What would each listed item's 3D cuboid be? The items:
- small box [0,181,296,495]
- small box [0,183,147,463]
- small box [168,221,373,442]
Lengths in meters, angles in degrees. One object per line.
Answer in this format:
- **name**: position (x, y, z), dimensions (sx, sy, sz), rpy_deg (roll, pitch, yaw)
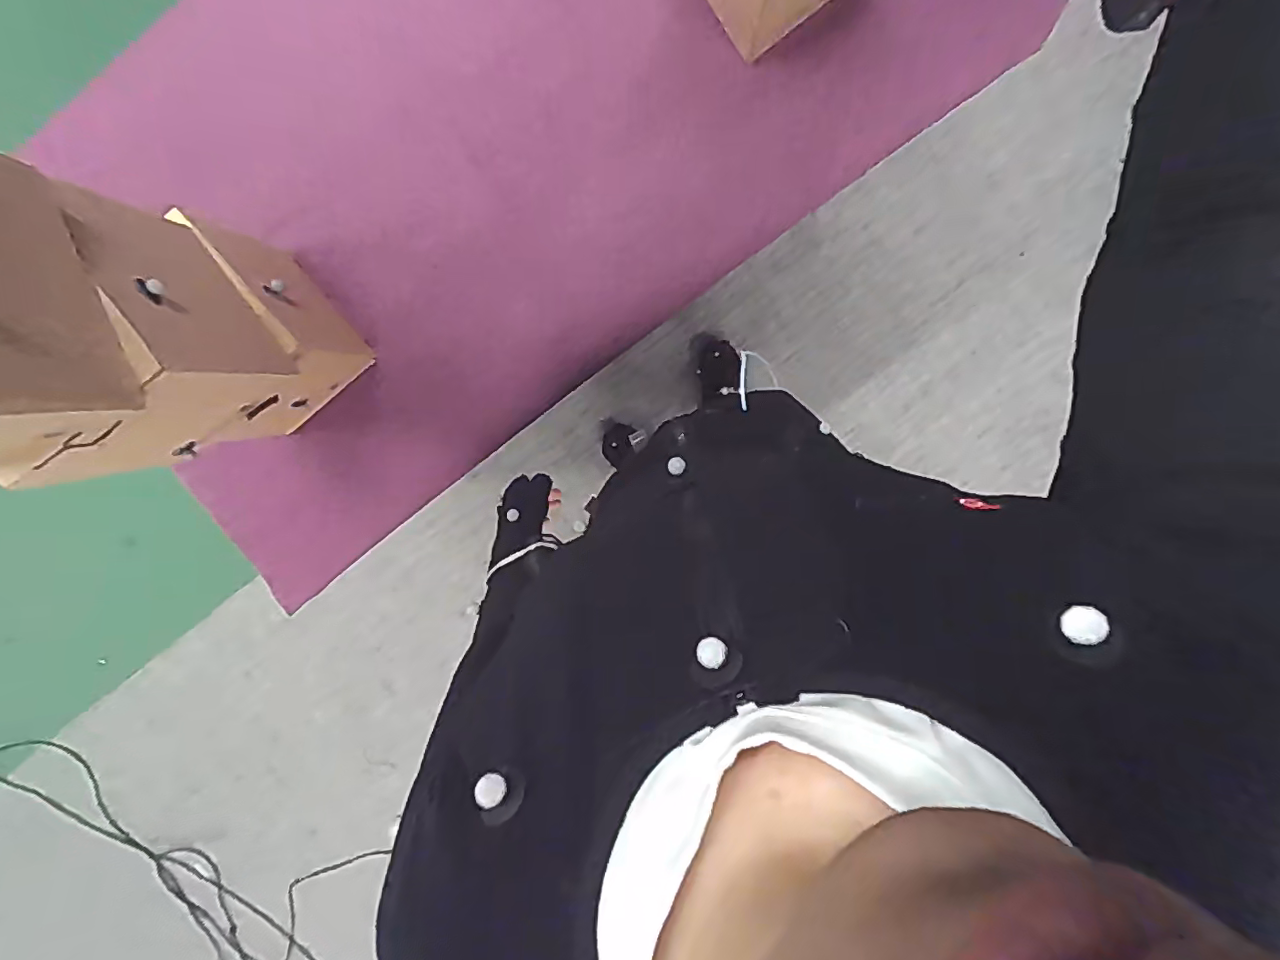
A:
- **small box**: position (-0.462, -0.114, 0.481), dimensions (0.168, 0.176, 0.179), rpy_deg (-33, 98, 5)
- **small box**: position (-0.462, -0.088, 0.319), dimensions (0.168, 0.176, 0.179), rpy_deg (-16, 101, 1)
- **small box**: position (-0.465, -0.160, 0.640), dimensions (0.168, 0.176, 0.179), rpy_deg (-38, 99, 6)
